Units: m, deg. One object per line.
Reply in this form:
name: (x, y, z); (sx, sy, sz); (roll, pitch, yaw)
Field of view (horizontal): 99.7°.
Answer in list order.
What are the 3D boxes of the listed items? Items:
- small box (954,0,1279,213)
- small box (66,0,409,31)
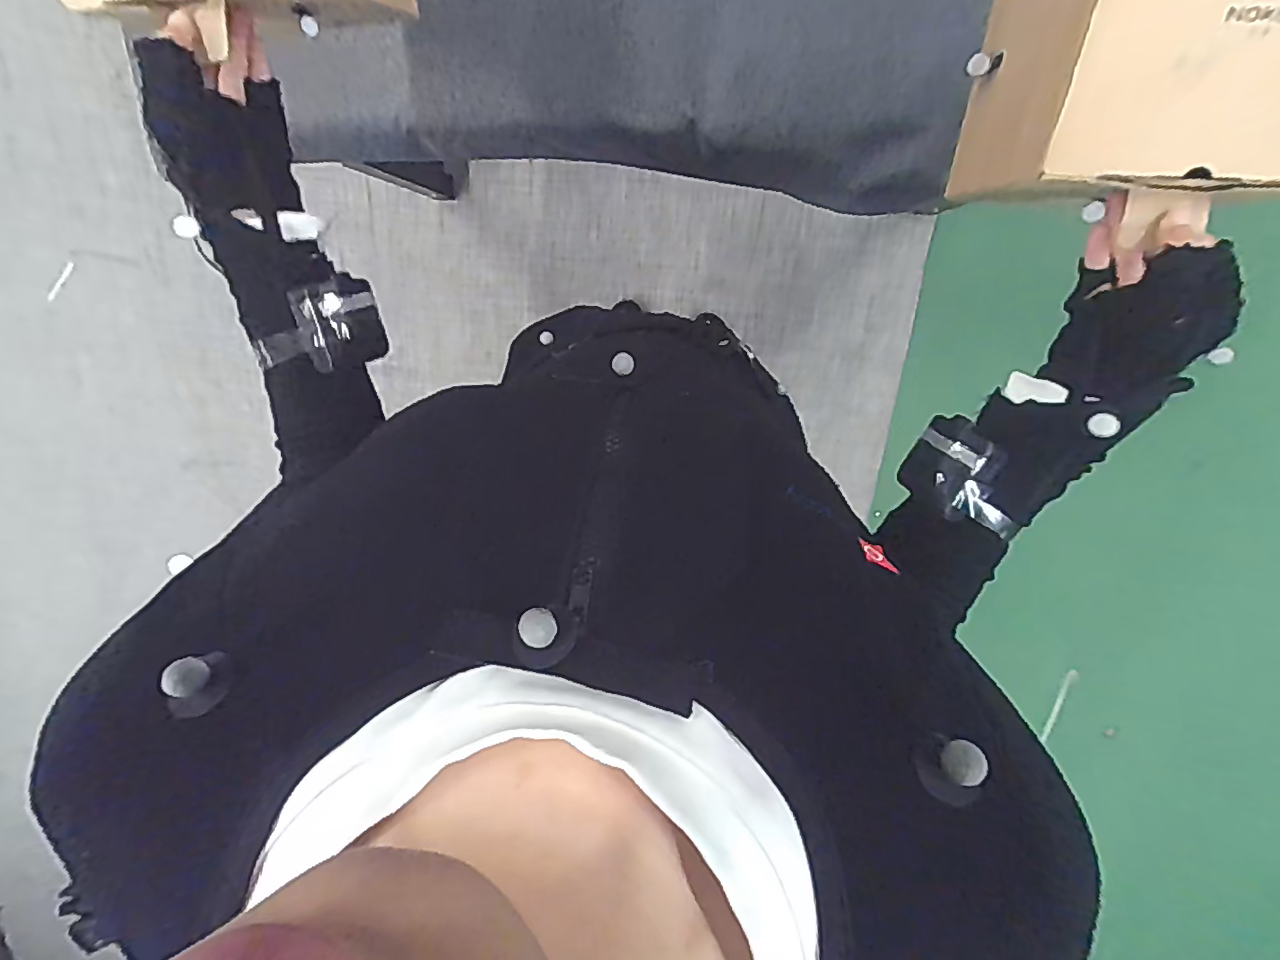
small box: (0.332, -0.275, 0.349); (0.168, 0.176, 0.179); (7, 115, 7)
small box: (-0.281, -0.417, 0.351); (0.168, 0.176, 0.179); (1, 122, 10)
